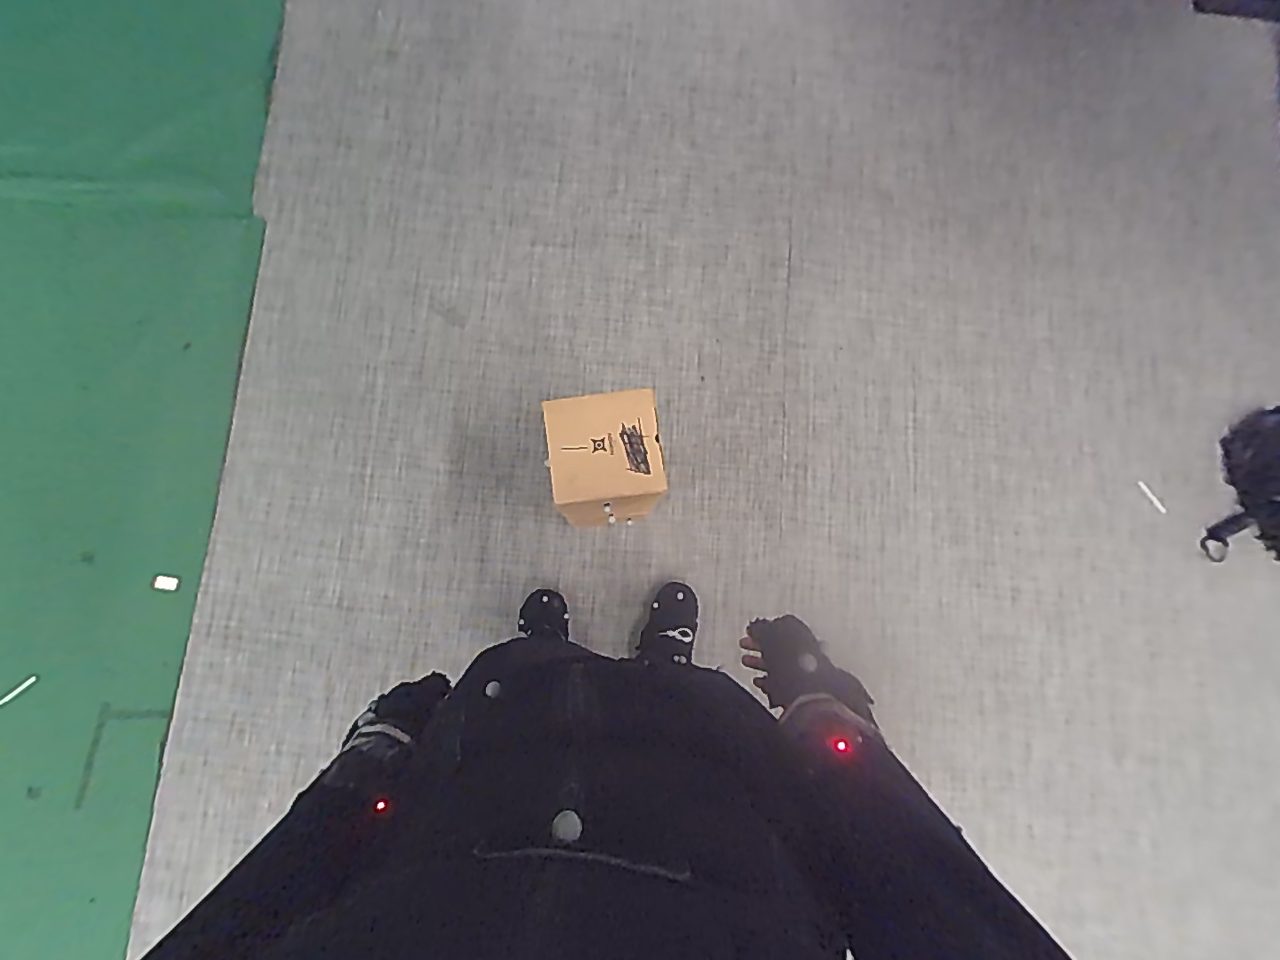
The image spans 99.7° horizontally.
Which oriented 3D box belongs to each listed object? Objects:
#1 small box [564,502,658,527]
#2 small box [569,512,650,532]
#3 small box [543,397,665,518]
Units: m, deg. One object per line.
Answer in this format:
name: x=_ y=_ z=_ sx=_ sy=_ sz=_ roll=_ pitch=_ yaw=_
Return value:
small box: x=-0.069 y=-0.003 z=1.077 sx=0.179 sy=0.176 sz=0.168 roll=-10 pitch=83 yaw=-4
small box: x=-0.079 y=0.024 z=1.236 sx=0.179 sy=0.176 sz=0.168 roll=-9 pitch=81 yaw=-3
small box: x=-0.060 y=-0.031 z=0.913 sx=0.179 sy=0.176 sz=0.168 roll=-7 pitch=81 yaw=-3
